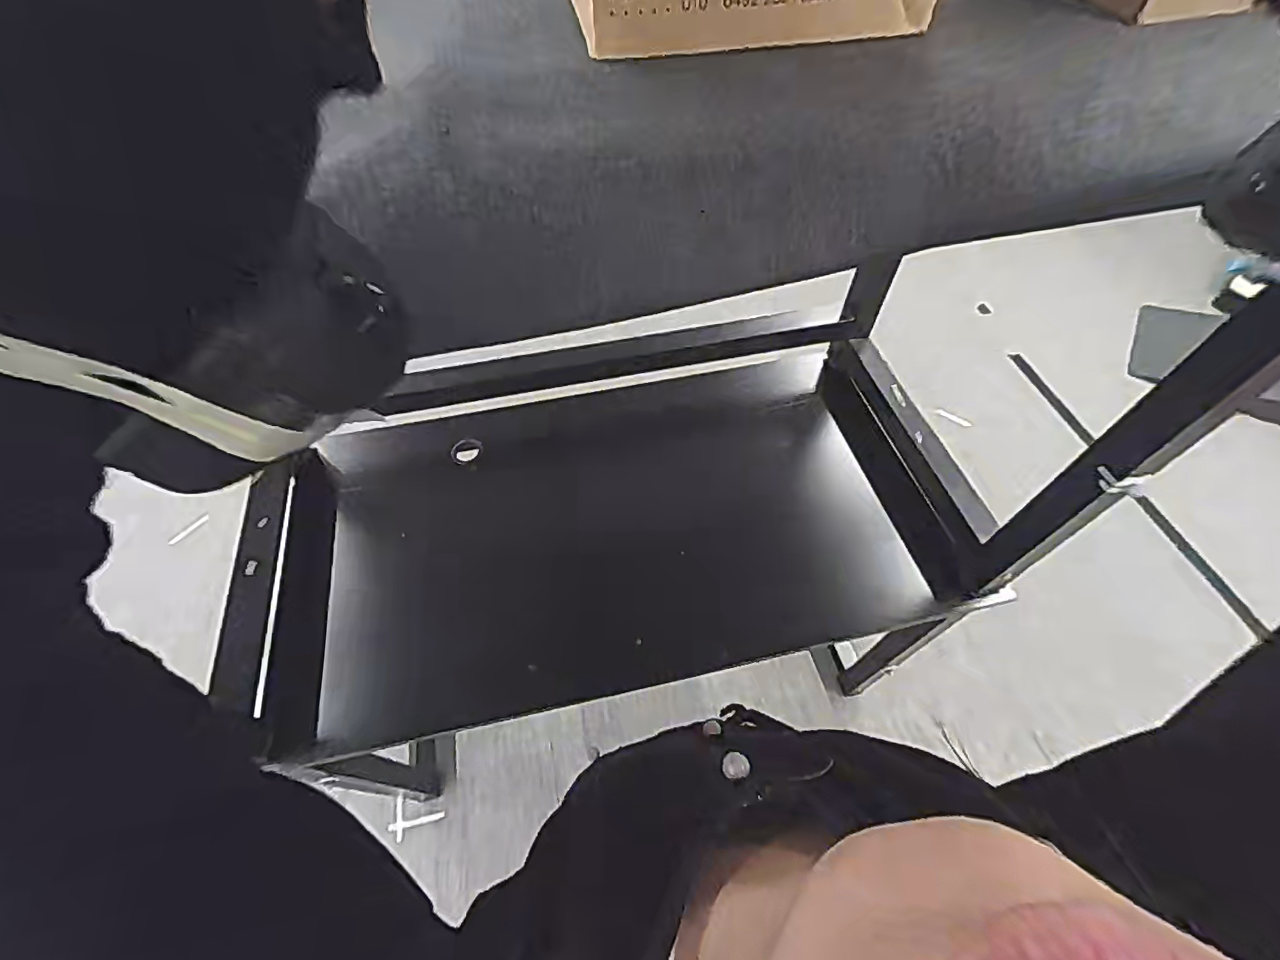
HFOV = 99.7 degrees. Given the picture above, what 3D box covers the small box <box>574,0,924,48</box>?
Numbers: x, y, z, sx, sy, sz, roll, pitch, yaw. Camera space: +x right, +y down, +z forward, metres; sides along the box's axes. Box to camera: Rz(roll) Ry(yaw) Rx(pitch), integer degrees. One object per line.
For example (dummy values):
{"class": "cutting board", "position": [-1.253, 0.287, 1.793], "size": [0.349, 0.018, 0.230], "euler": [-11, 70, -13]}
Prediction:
{"class": "small box", "position": [0.044, -0.318, 0.241], "size": [0.168, 0.176, 0.179], "euler": [-8, 55, -5]}
